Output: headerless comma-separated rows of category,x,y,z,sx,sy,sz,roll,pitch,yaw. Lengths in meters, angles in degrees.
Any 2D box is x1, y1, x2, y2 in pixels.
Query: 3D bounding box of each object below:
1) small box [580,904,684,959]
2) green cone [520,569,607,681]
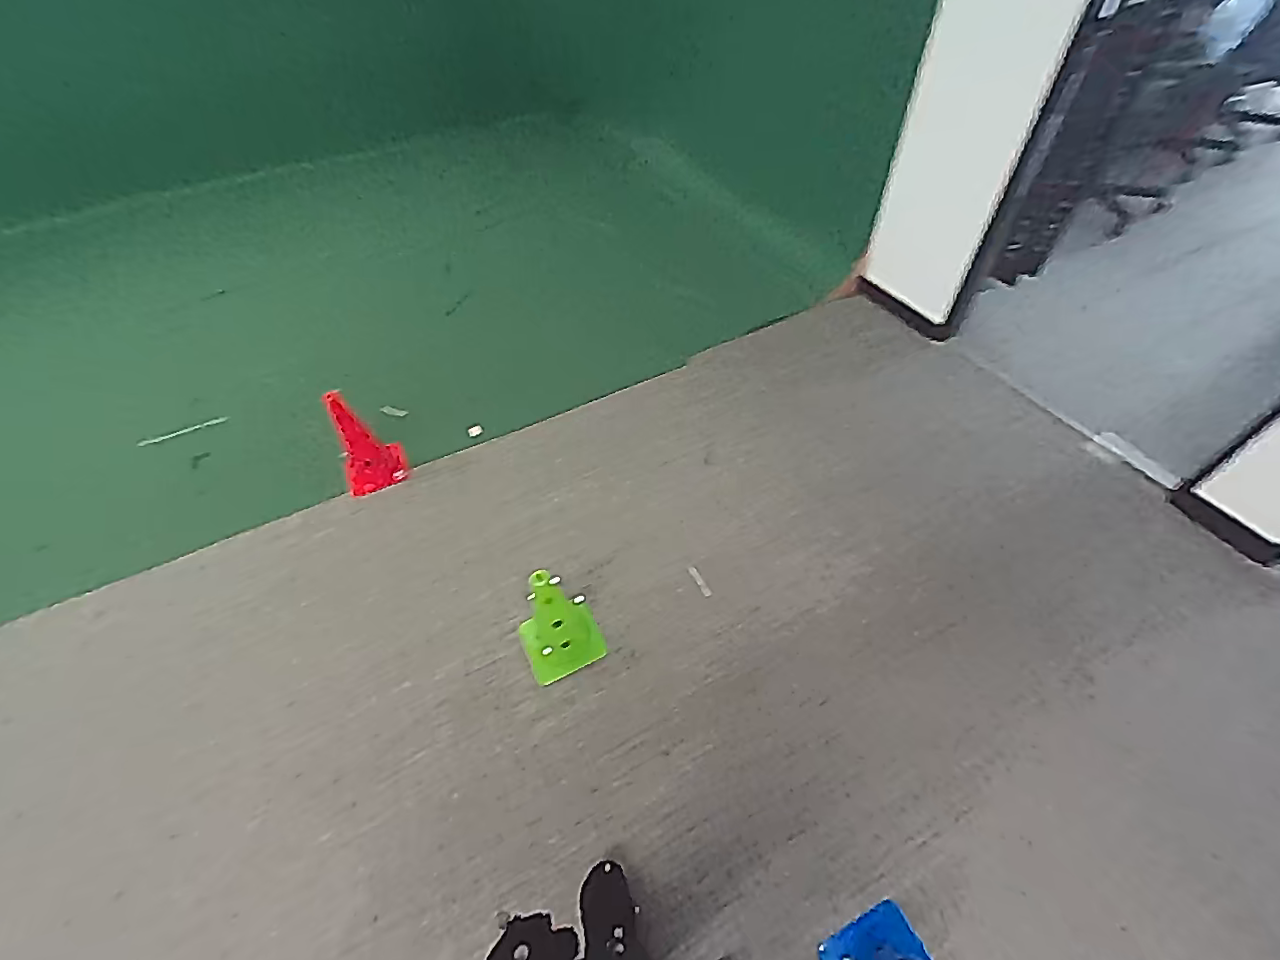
small box,-0.023,0.950,1.040,0.168,0.176,0.179,13,59,-9
green cone,-0.224,0.328,1.373,0.200,0.368,0.202,-24,55,-15
